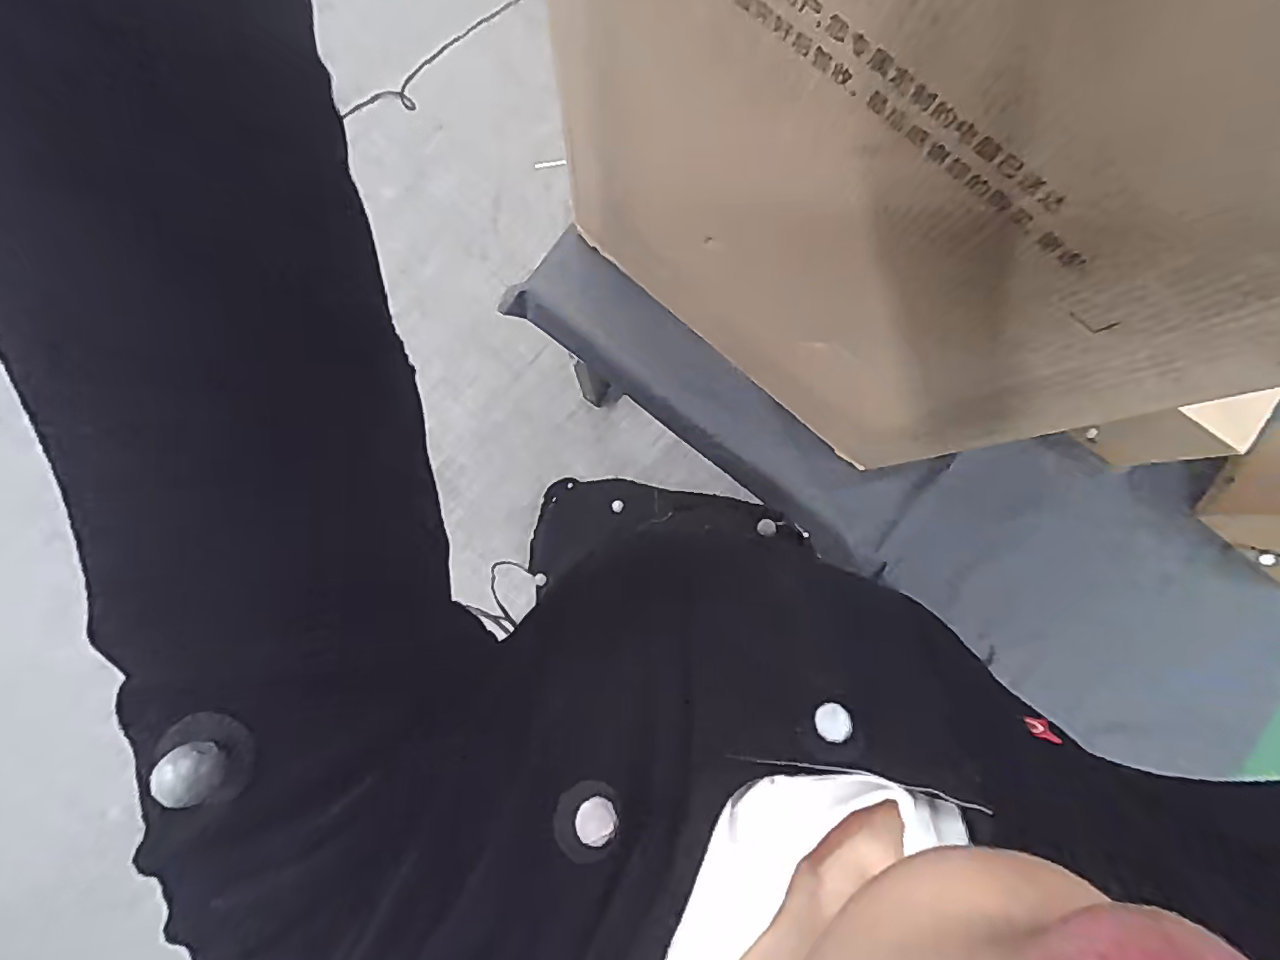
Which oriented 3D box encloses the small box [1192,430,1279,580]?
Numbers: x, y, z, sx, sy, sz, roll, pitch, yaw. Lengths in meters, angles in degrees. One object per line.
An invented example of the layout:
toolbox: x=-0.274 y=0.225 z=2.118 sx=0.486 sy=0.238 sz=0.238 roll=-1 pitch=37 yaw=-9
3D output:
small box: x=0.914 y=0.035 z=0.709 sx=0.179 sy=0.176 sz=0.168 roll=39 pitch=85 yaw=1
